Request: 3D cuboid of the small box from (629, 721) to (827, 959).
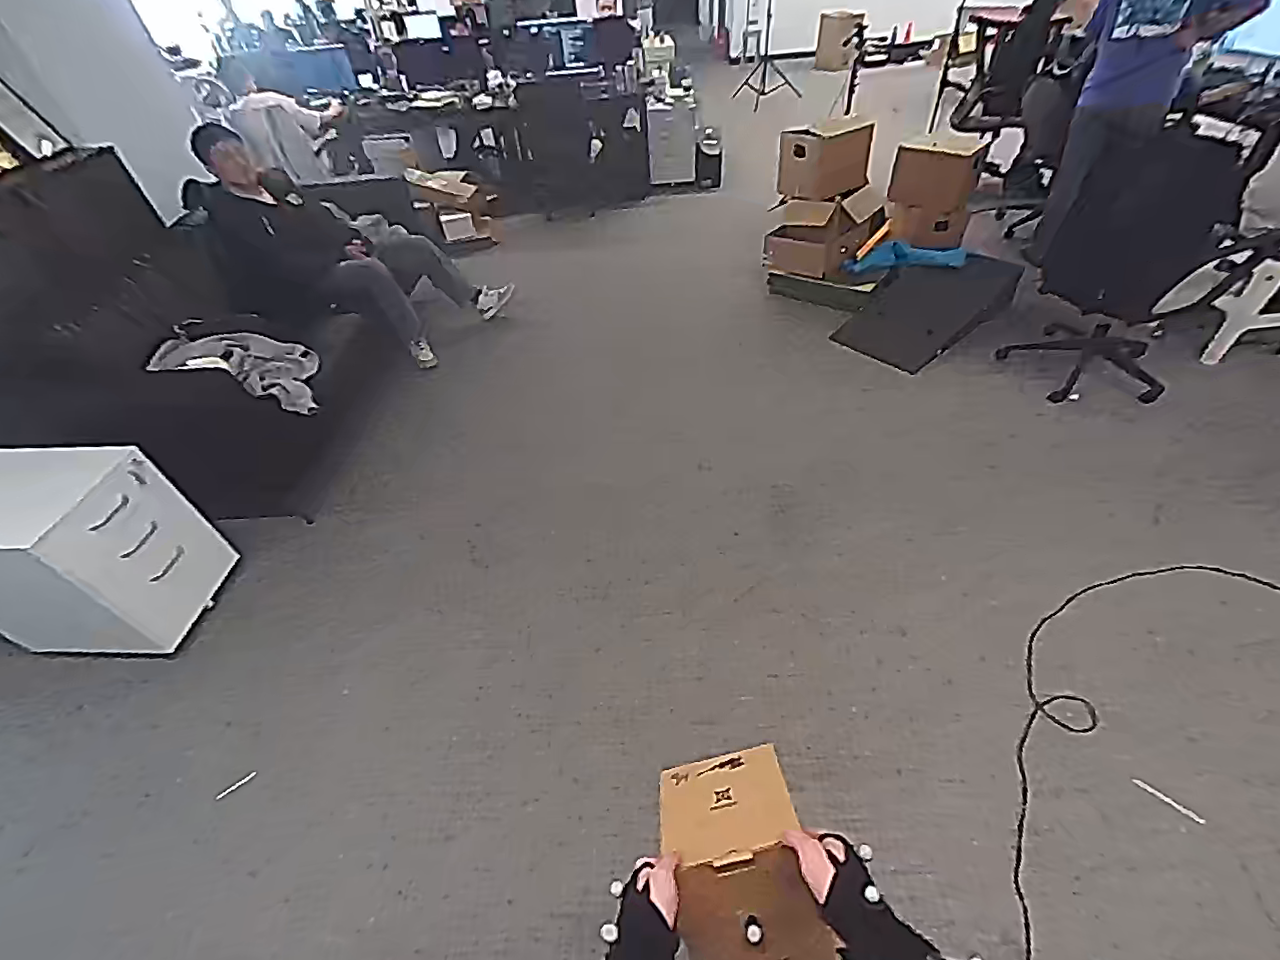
[{"bbox_3d":[0.116,0.464,0.714,0.179,0.176,0.168,-21,7,-26],"label":"small box"}]
